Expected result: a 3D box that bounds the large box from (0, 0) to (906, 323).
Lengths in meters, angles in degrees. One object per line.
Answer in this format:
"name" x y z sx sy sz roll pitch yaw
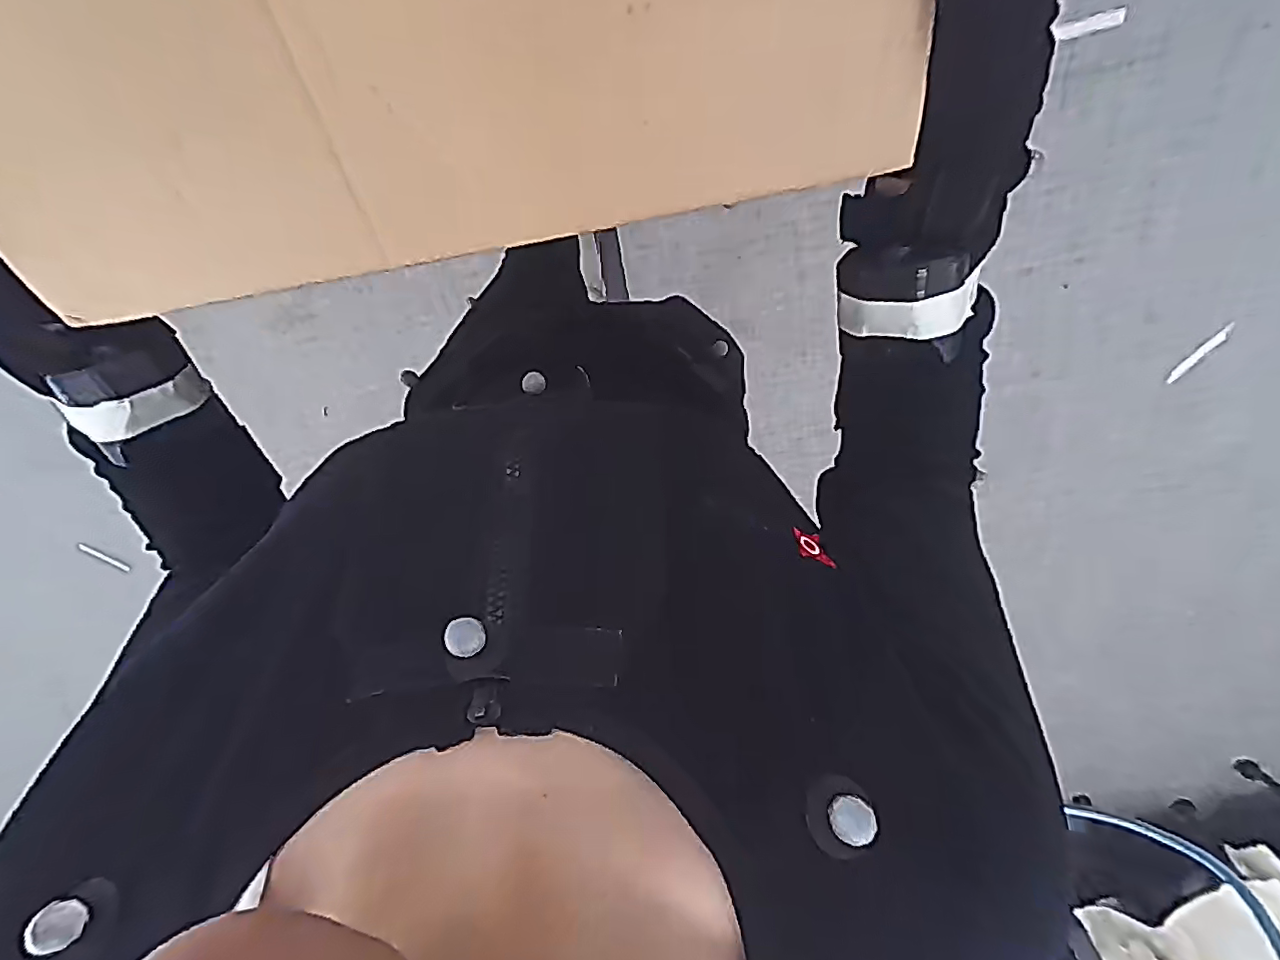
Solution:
"large box" -0.114 -0.323 0.273 0.408 0.320 0.320 -9 130 5
